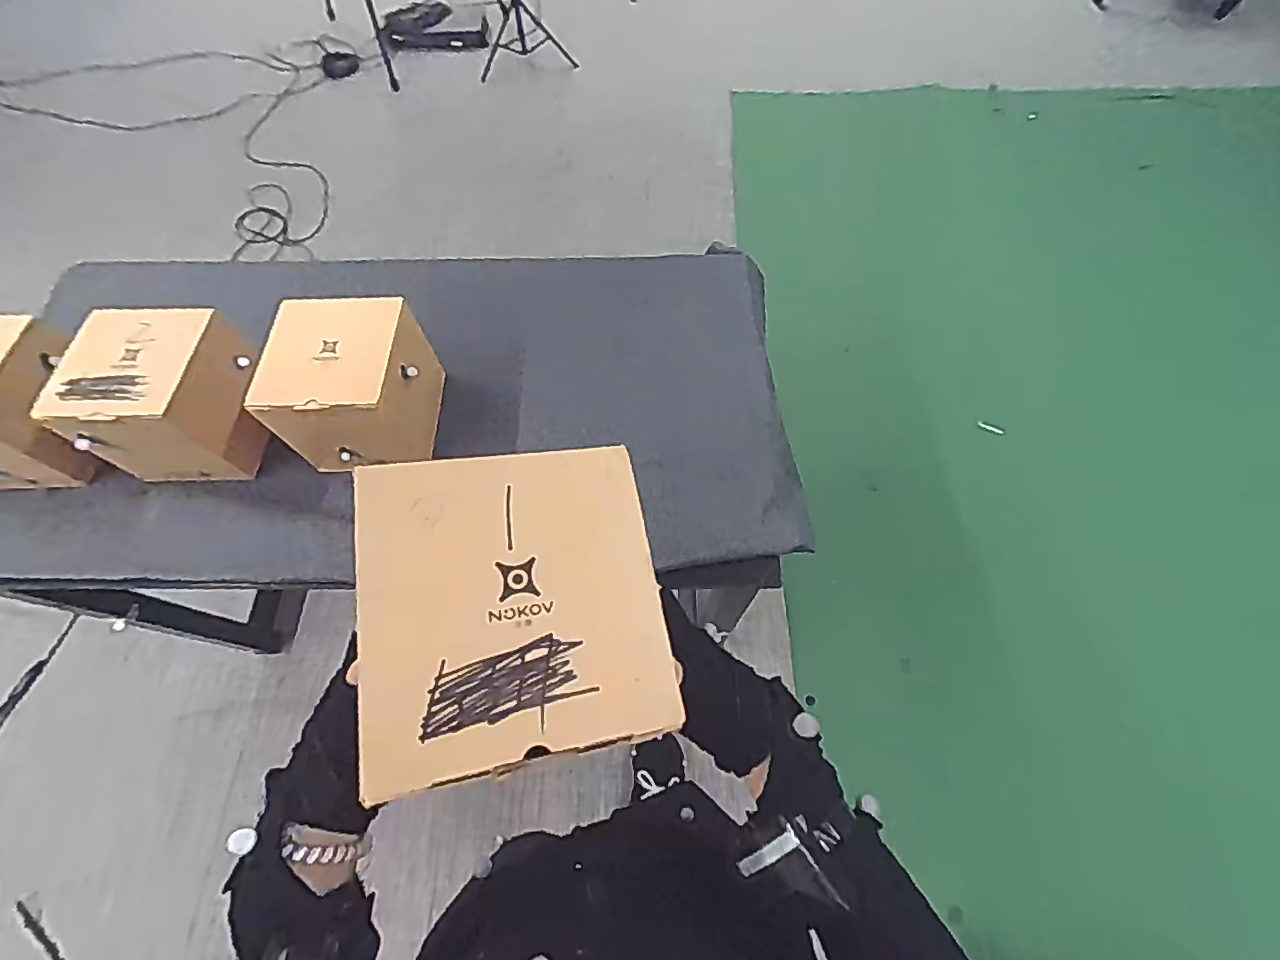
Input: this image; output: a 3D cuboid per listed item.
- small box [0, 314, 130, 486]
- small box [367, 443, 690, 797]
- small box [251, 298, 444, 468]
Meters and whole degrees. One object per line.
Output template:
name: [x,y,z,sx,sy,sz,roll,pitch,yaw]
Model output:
small box: [-0.875,-0.106,0.747,0.168,0.176,0.179,-1,63,-1]
small box: [-0.082,0.091,0.377,0.168,0.176,0.179,-6,70,-18]
small box: [-0.388,-0.130,0.758,0.168,0.176,0.179,-1,65,0]
